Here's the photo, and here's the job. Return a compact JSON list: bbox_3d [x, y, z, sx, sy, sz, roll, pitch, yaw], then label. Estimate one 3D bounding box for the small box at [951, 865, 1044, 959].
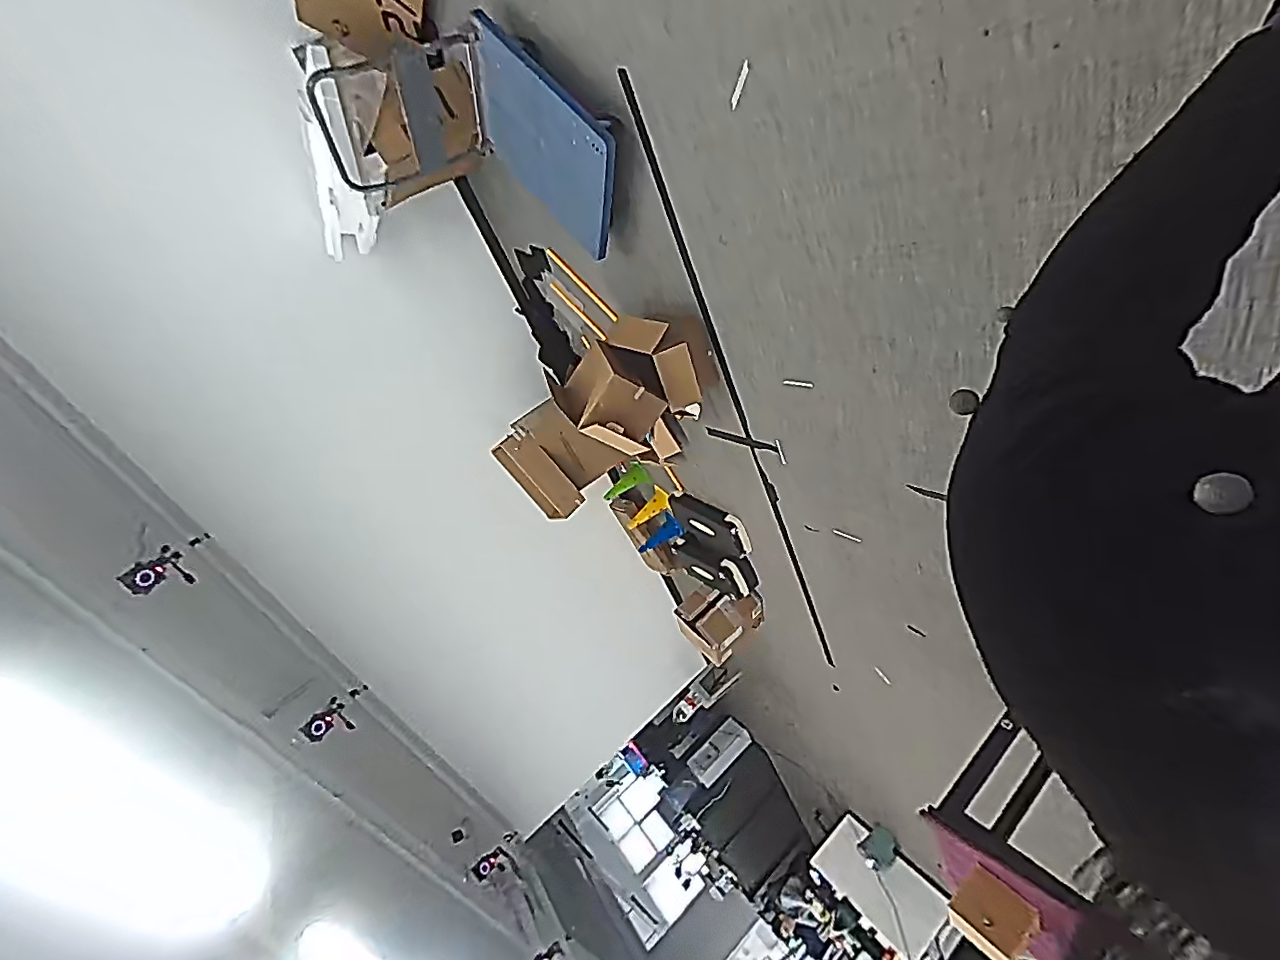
[{"bbox_3d":[1.067,1.303,1.618,0.179,0.176,0.168,25,148,52],"label":"small box"}]
